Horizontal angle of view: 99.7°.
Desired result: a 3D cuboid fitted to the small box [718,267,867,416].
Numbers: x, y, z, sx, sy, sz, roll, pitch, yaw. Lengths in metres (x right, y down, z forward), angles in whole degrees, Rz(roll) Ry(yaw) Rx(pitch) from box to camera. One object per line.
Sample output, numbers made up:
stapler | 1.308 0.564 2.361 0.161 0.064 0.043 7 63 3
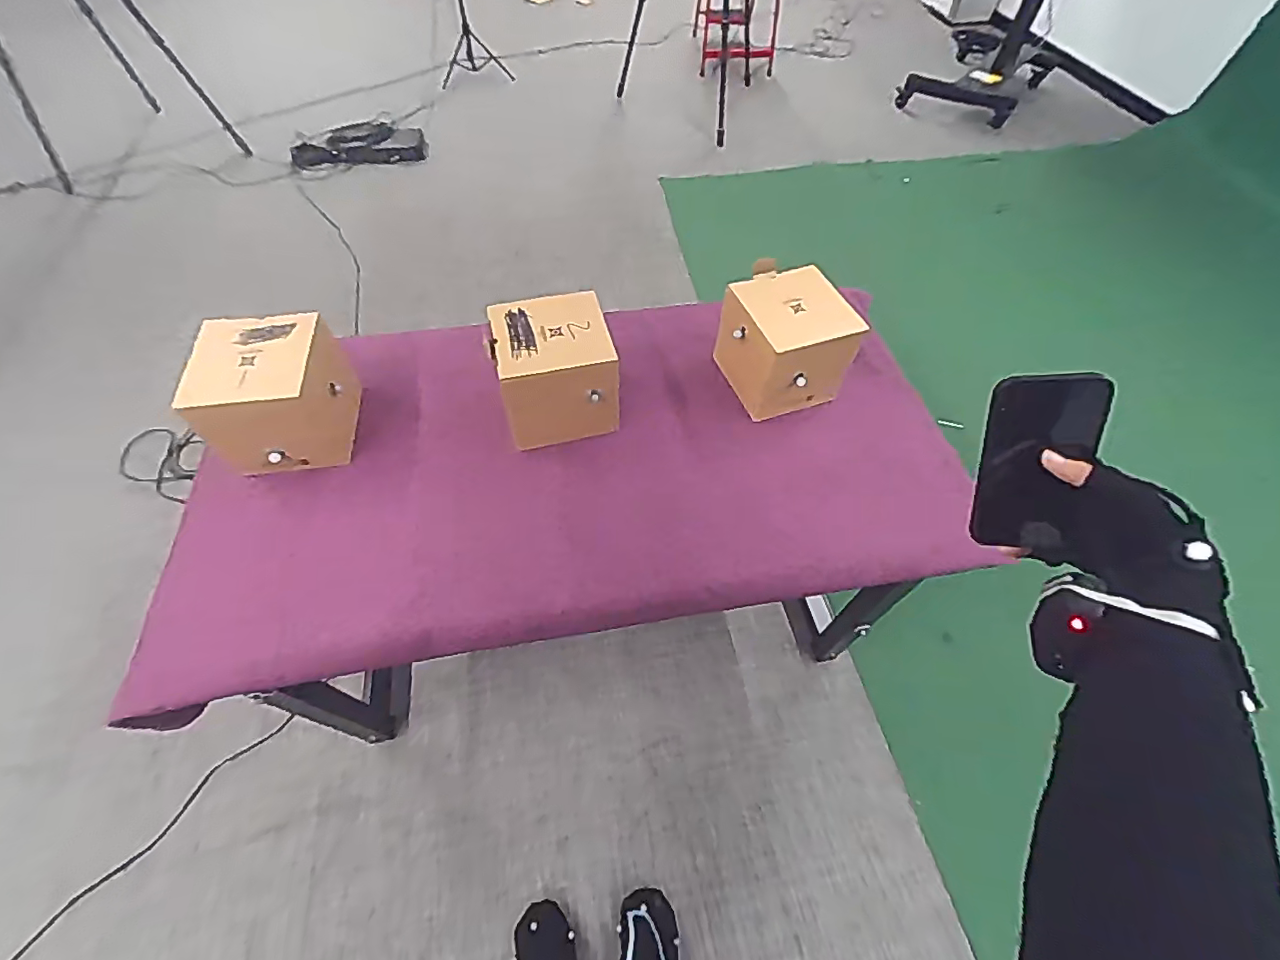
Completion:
small box | 0.248 -0.229 0.928 0.168 0.176 0.179 -16 58 -12

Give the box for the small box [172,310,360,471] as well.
small box | -0.555 -0.136 0.835 0.168 0.176 0.179 -6 59 -6
